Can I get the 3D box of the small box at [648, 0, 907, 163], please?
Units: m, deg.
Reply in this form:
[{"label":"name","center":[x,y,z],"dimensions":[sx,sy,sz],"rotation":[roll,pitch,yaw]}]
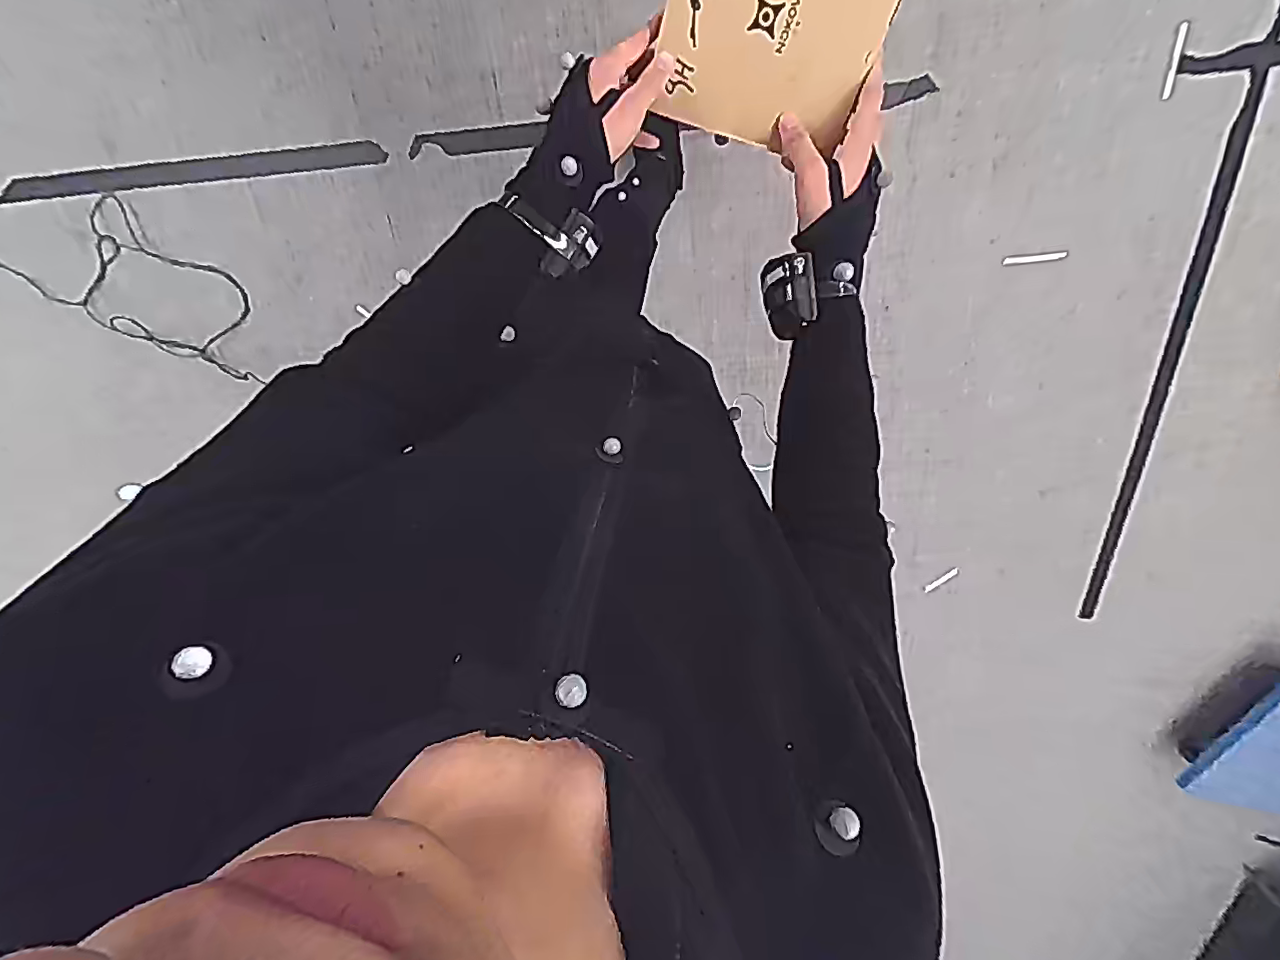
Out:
[{"label":"small box","center":[0.114,-0.410,0.479],"dimensions":[0.179,0.176,0.168],"rotation":[14,128,-8]}]
